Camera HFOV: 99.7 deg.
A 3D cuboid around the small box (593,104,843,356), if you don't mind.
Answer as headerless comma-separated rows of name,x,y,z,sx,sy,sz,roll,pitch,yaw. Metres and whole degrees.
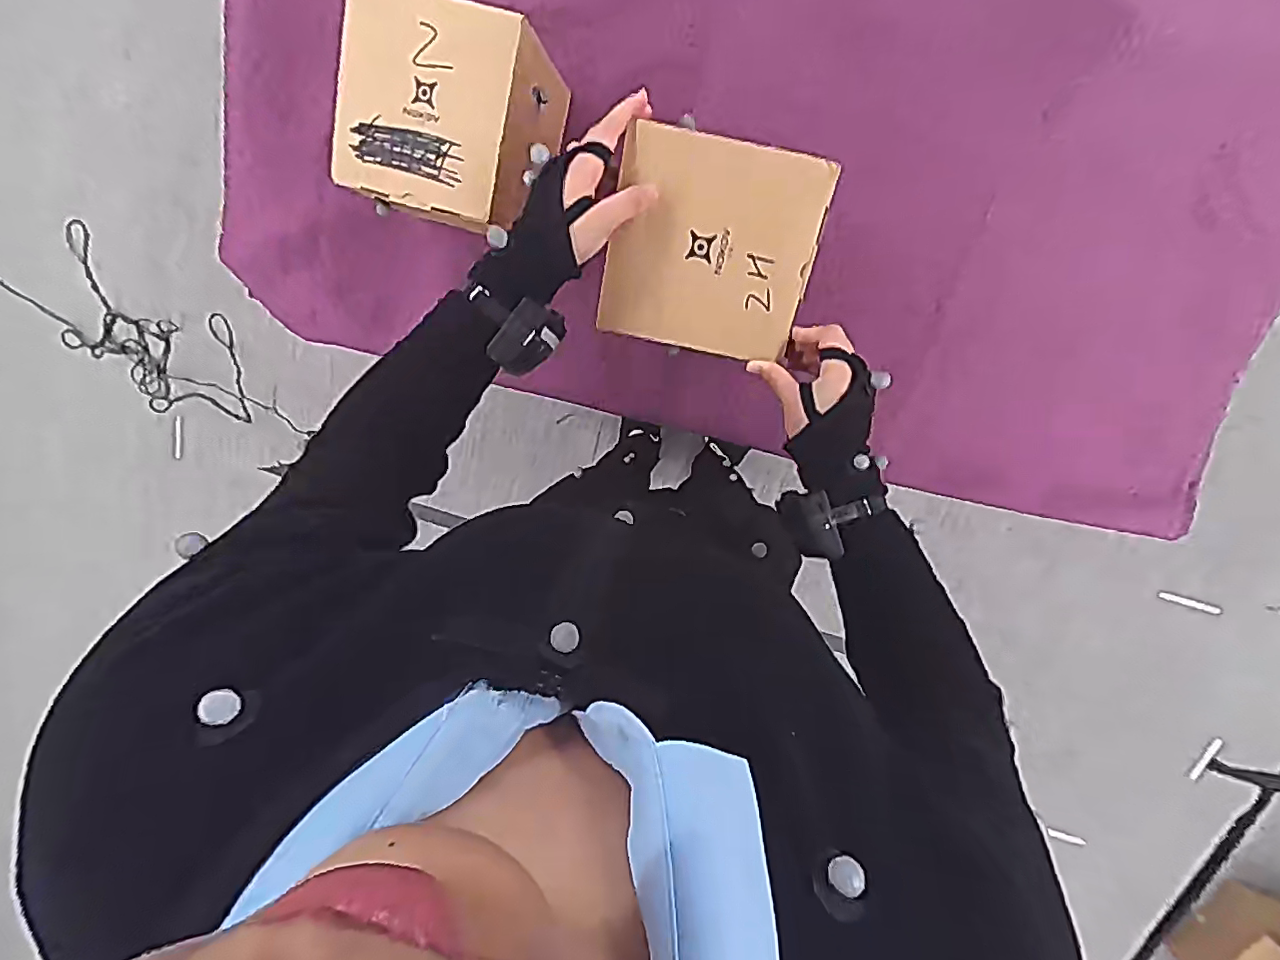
small box,0.063,-0.232,0.527,0.179,0.176,0.168,12,113,-2
